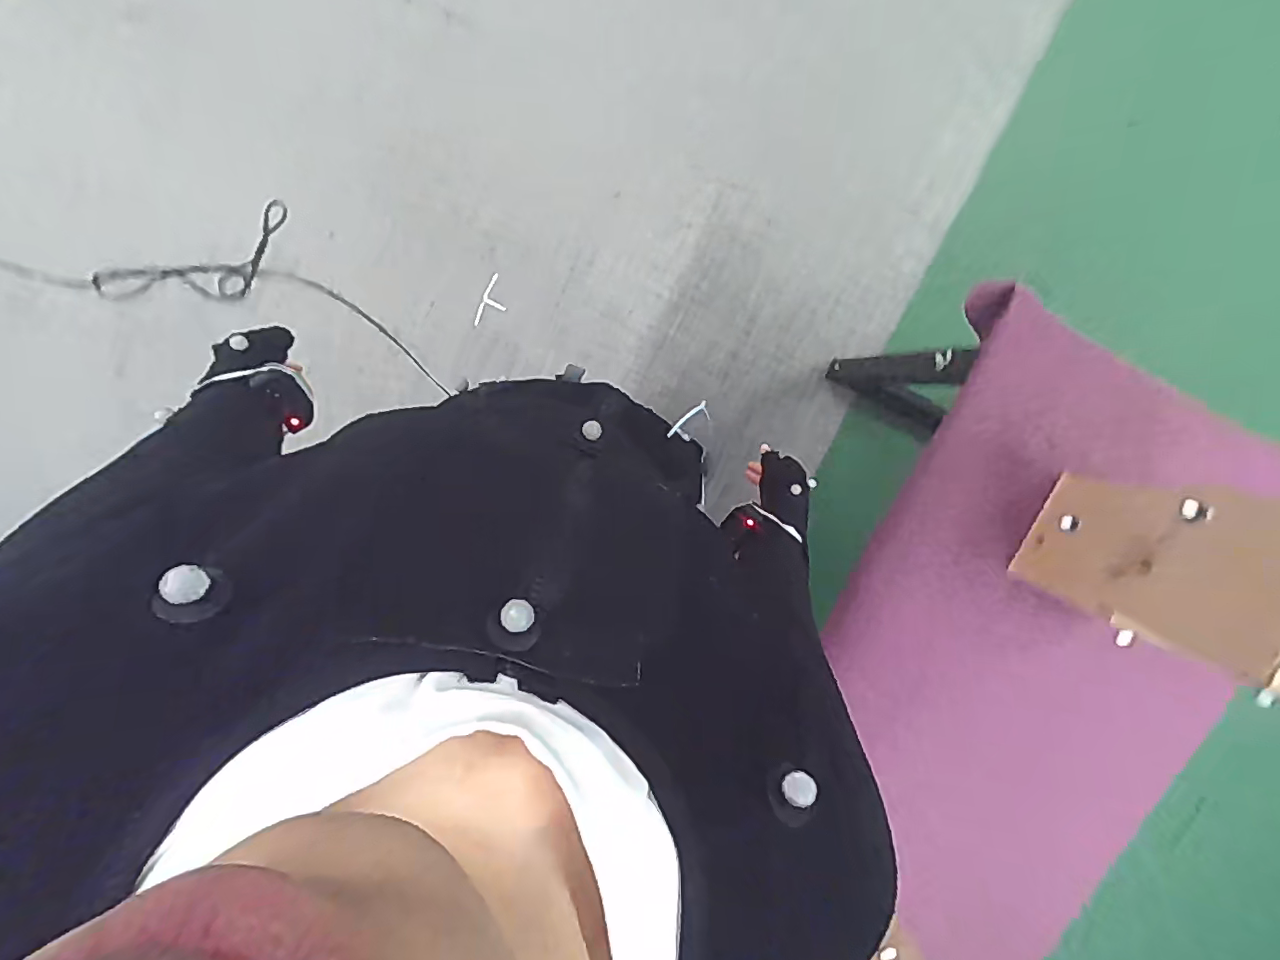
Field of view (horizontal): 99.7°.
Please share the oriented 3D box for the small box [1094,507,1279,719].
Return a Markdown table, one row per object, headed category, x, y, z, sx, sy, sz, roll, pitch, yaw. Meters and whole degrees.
| category | x | y | z | sx | sy | sz | roll | pitch | yaw |
| --- | --- | --- | --- | --- | --- | --- | --- | --- | --- |
| small box | 0.646 | 0.143 | 0.565 | 0.179 | 0.176 | 0.168 | 29 | 99 | -8 |
